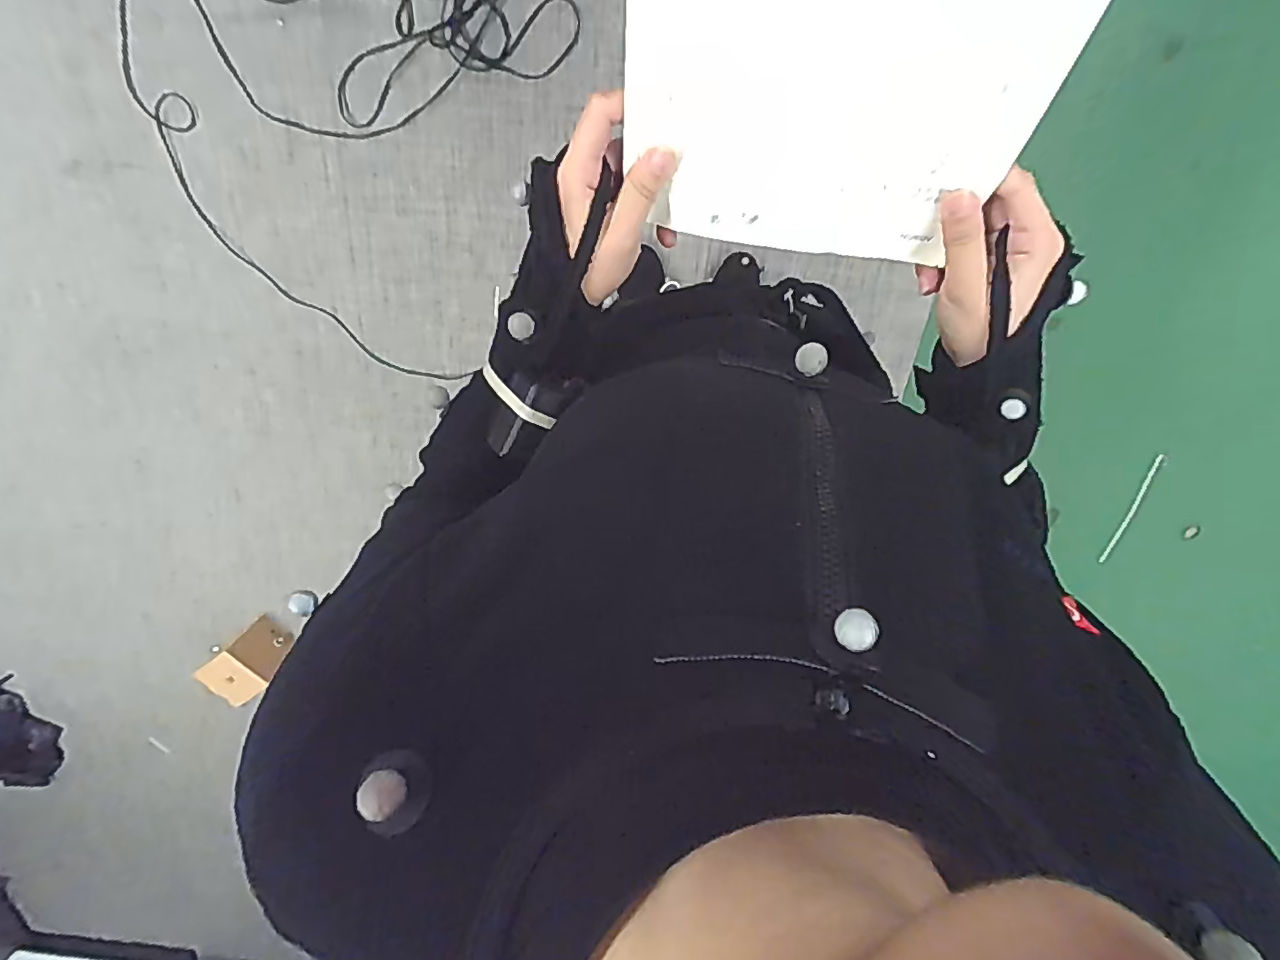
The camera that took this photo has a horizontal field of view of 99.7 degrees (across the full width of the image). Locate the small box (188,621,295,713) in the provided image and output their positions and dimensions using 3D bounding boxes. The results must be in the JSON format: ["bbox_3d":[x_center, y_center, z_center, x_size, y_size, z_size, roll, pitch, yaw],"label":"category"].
[{"bbox_3d":[-1.226,0.576,1.677,0.179,0.176,0.168,-34,109,16],"label":"small box"}]
